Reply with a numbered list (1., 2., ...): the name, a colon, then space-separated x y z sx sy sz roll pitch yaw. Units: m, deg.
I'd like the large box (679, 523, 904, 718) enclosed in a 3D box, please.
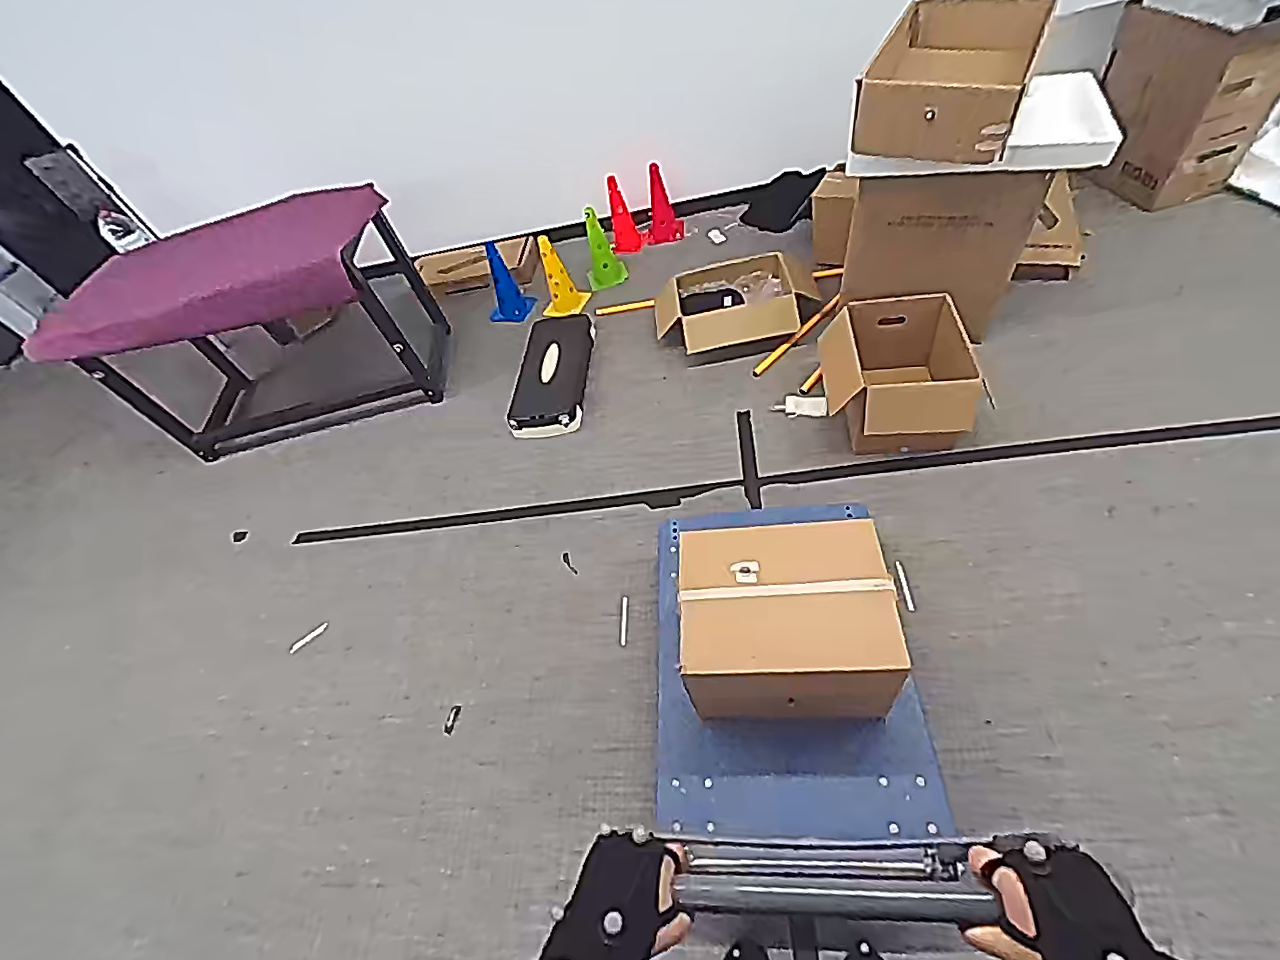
1. large box: 0.309 0.321 1.188 0.408 0.320 0.320 -6 50 11
